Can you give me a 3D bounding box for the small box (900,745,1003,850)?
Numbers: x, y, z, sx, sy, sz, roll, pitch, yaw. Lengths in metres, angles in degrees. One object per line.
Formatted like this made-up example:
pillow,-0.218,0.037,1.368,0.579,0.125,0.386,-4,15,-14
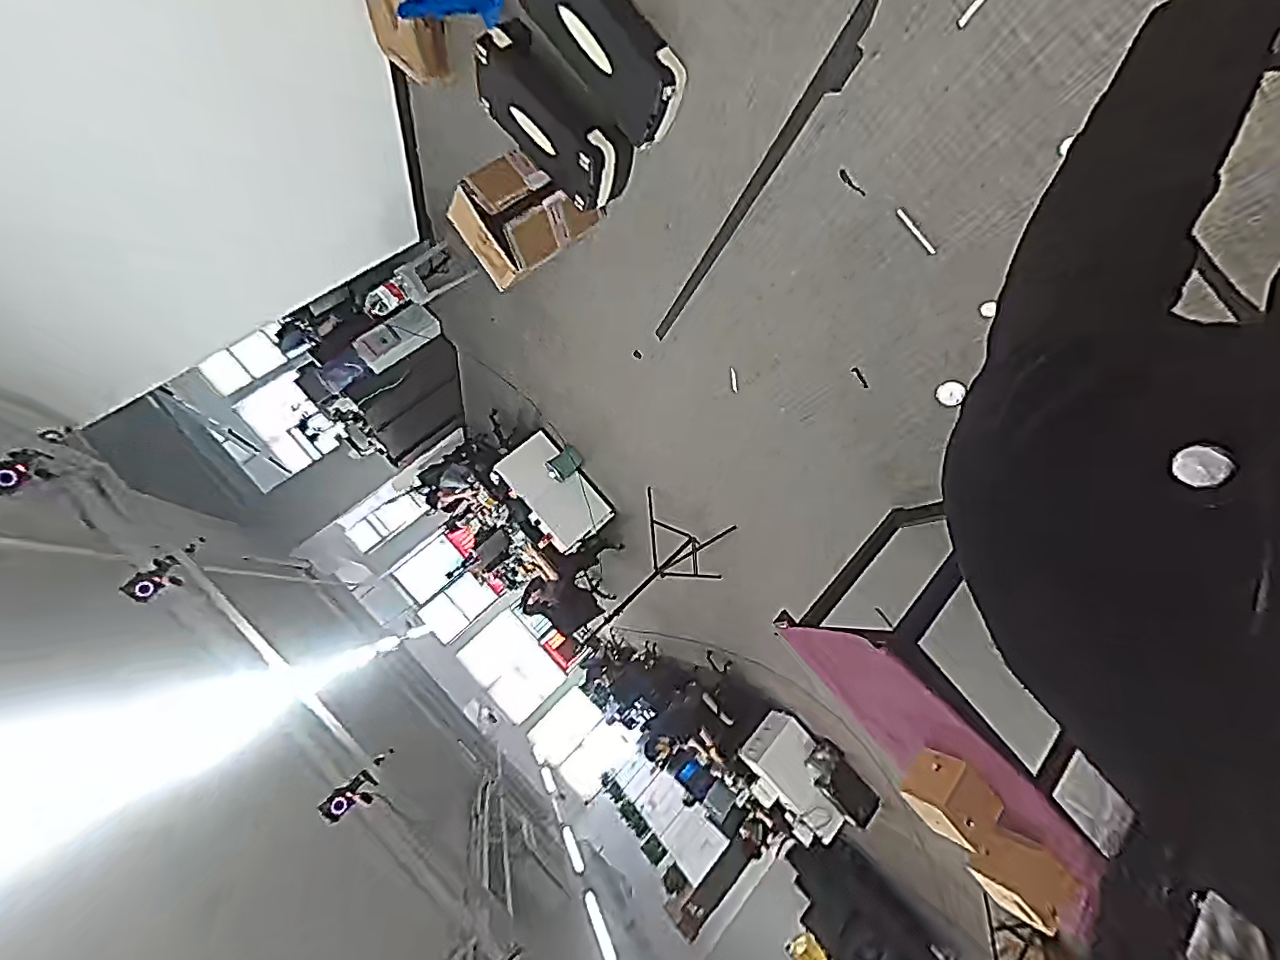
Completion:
small box,0.930,0.938,1.612,0.179,0.176,0.168,50,160,-3
